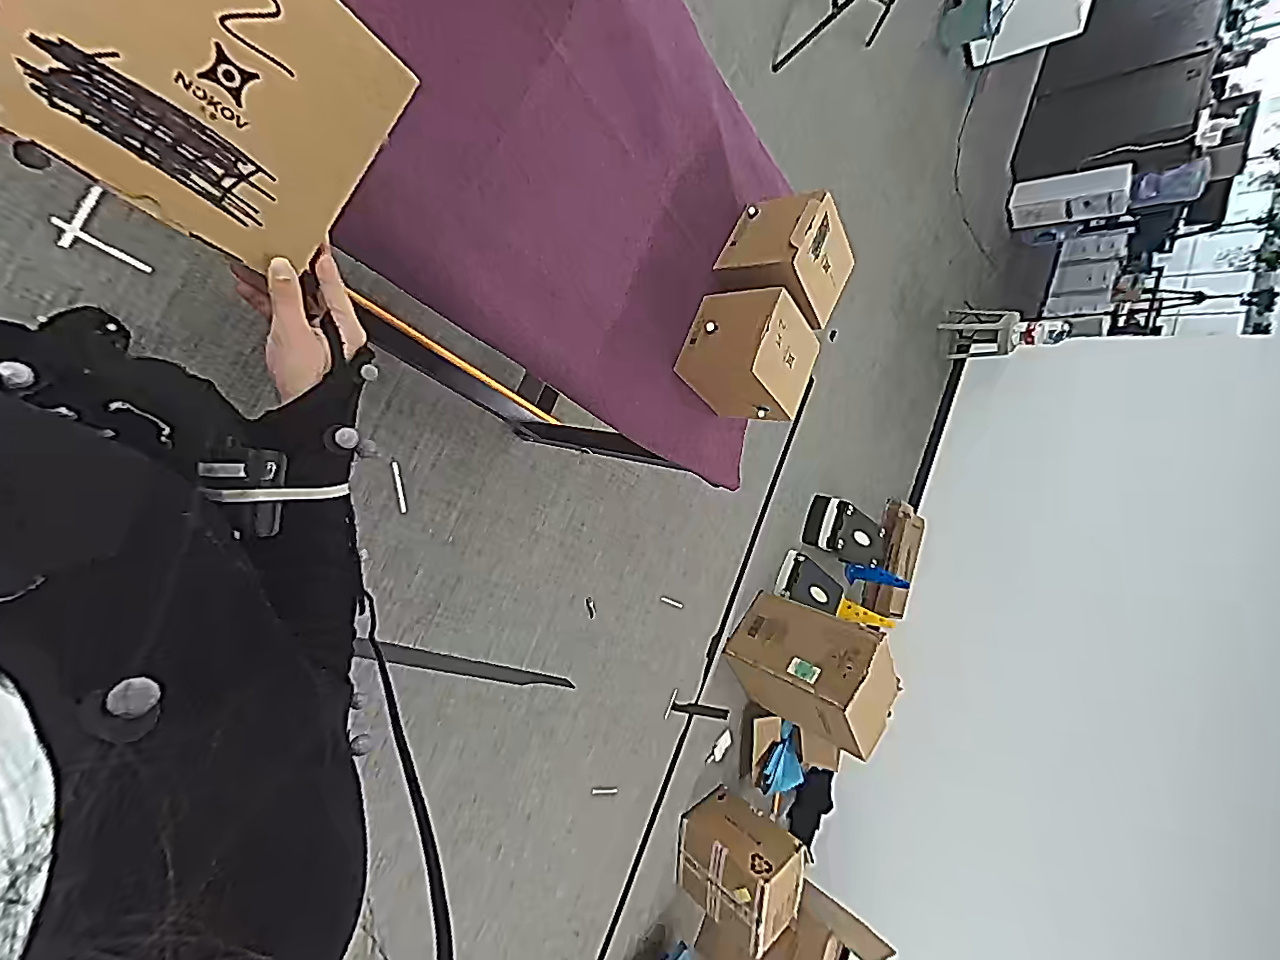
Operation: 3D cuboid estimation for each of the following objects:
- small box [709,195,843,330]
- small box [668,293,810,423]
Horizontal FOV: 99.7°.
[{"bbox_3d":[0.260,-0.405,1.040,0.179,0.176,0.168,42,71,-44],"label":"small box"},{"bbox_3d":[0.184,-0.223,1.005,0.179,0.176,0.168,35,72,-44],"label":"small box"}]
